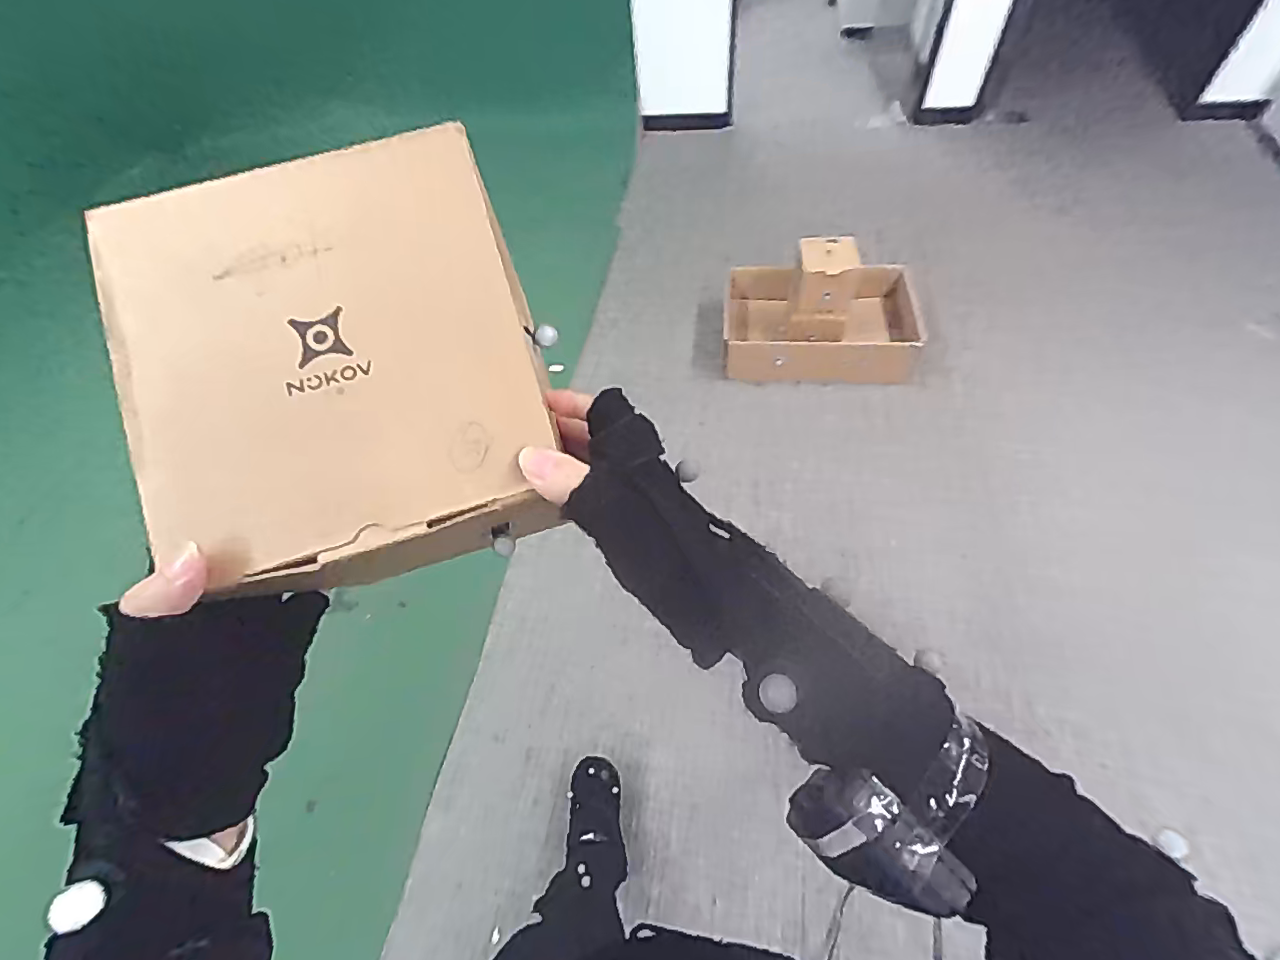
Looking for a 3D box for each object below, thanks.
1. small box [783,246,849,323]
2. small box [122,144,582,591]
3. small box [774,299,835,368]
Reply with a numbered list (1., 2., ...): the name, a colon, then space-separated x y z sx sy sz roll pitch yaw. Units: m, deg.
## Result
1. small box: 0.557 -0.620 1.728 0.168 0.176 0.179 1 56 6
2. small box: -0.136 -0.045 0.319 0.168 0.176 0.179 -16 81 -6
3. small box: 0.563 -0.503 1.864 0.179 0.176 0.168 4 55 9
